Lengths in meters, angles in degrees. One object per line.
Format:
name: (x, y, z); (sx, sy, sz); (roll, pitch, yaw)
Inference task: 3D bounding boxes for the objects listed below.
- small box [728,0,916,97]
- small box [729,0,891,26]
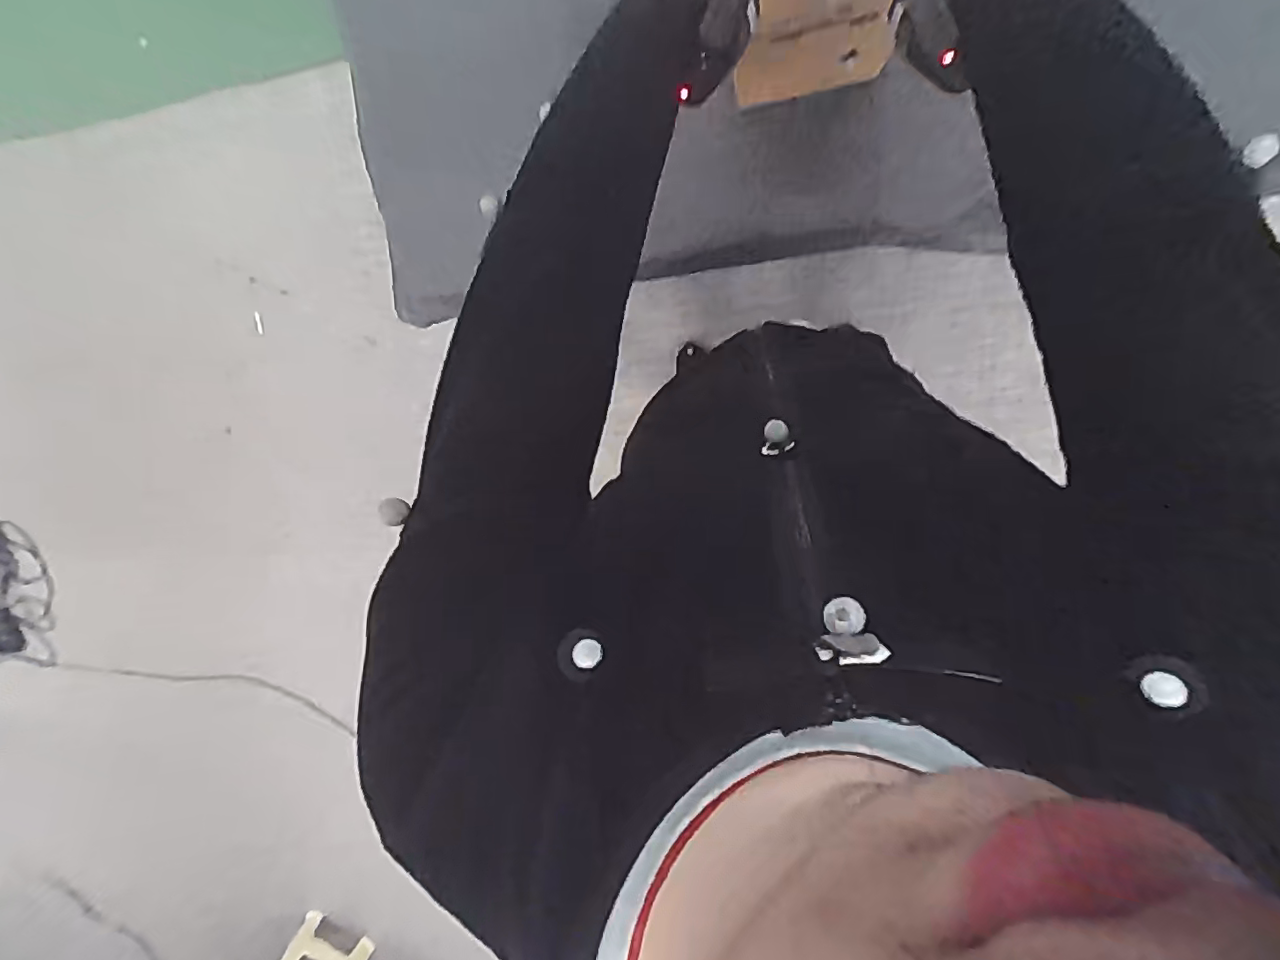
small box: (0.176, -0.531, 0.560); (0.168, 0.176, 0.179); (-6, 106, 11)
small box: (0.145, -0.485, 0.407); (0.168, 0.176, 0.179); (-5, 109, 10)
